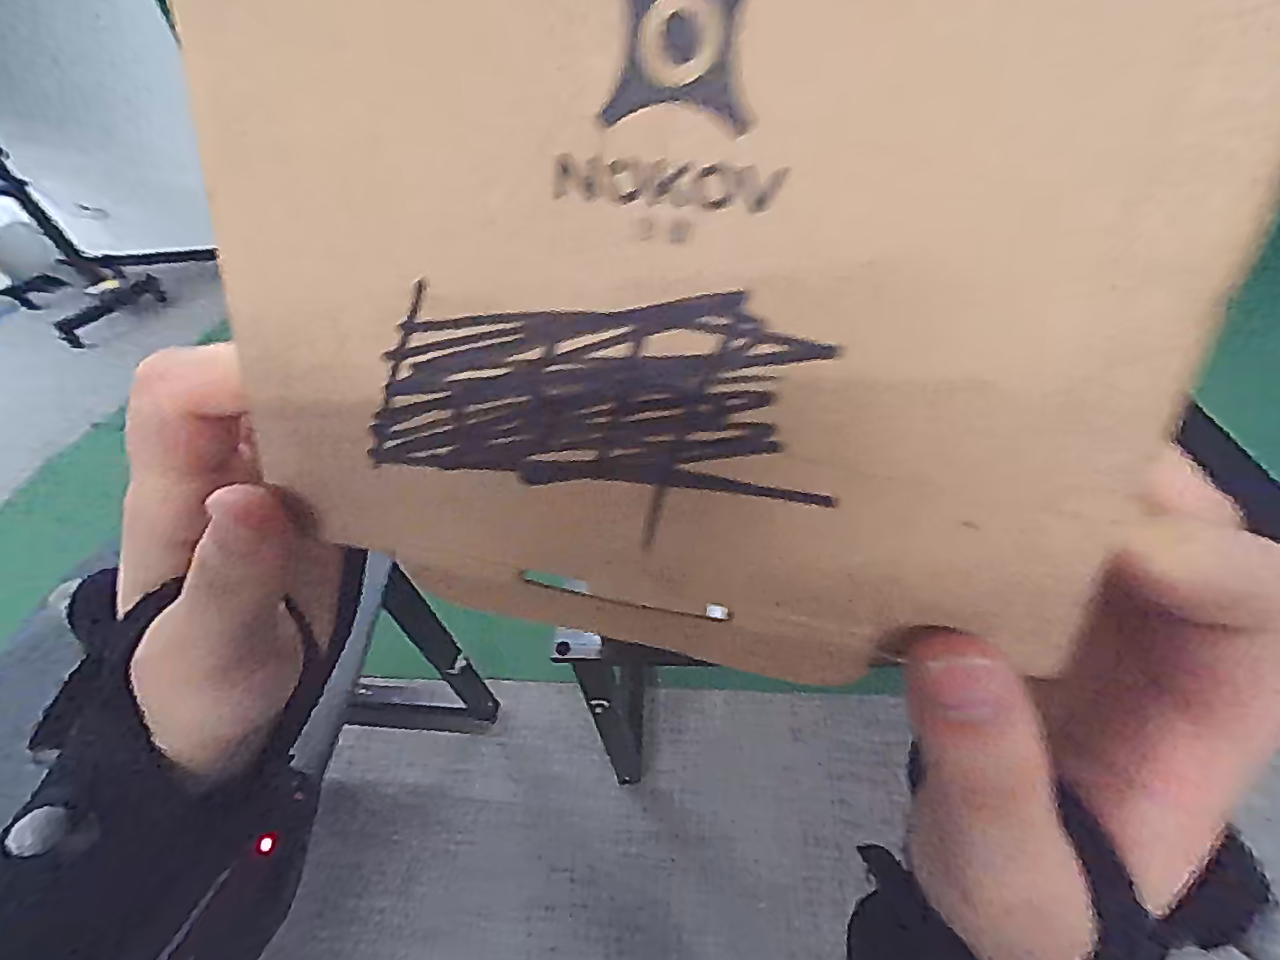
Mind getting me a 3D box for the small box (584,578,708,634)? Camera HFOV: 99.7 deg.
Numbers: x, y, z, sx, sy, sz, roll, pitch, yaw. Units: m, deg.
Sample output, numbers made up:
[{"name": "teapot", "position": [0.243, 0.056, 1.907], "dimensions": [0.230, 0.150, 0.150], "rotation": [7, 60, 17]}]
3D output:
[{"name": "small box", "position": [0.018, 0.116, 0.814], "dimensions": [0.168, 0.176, 0.179], "rotation": [0, 46, 5]}]
